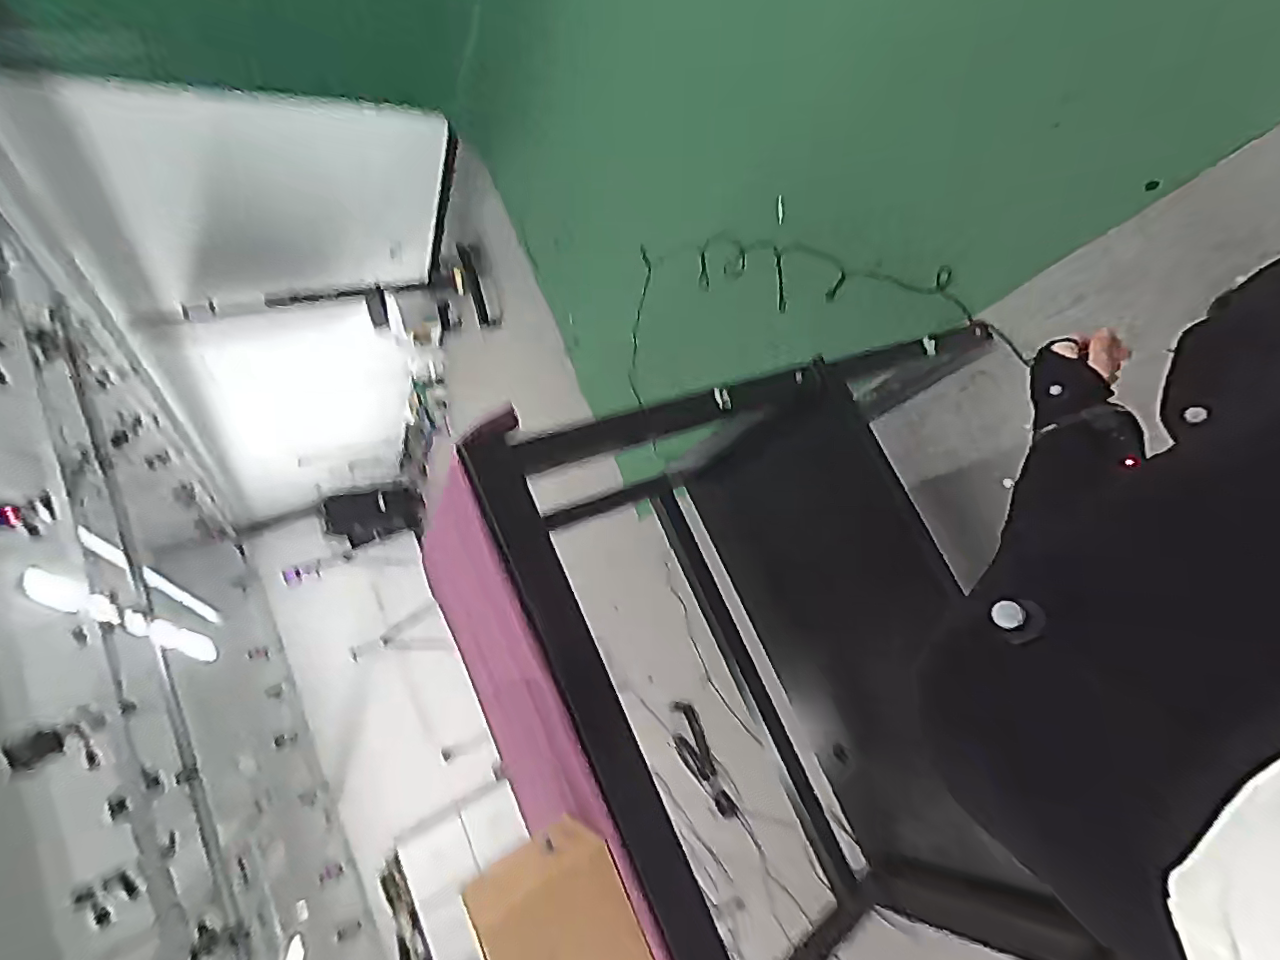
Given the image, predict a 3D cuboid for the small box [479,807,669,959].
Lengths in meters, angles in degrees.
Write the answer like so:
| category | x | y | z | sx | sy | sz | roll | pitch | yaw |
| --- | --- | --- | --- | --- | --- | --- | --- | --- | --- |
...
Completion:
| category | x | y | z | sx | sy | sz | roll | pitch | yaw |
| --- | --- | --- | --- | --- | --- | --- | --- | --- | --- |
| small box | -0.086 | 0.565 | 0.693 | 0.179 | 0.176 | 0.168 | 66 | 150 | 10 |
